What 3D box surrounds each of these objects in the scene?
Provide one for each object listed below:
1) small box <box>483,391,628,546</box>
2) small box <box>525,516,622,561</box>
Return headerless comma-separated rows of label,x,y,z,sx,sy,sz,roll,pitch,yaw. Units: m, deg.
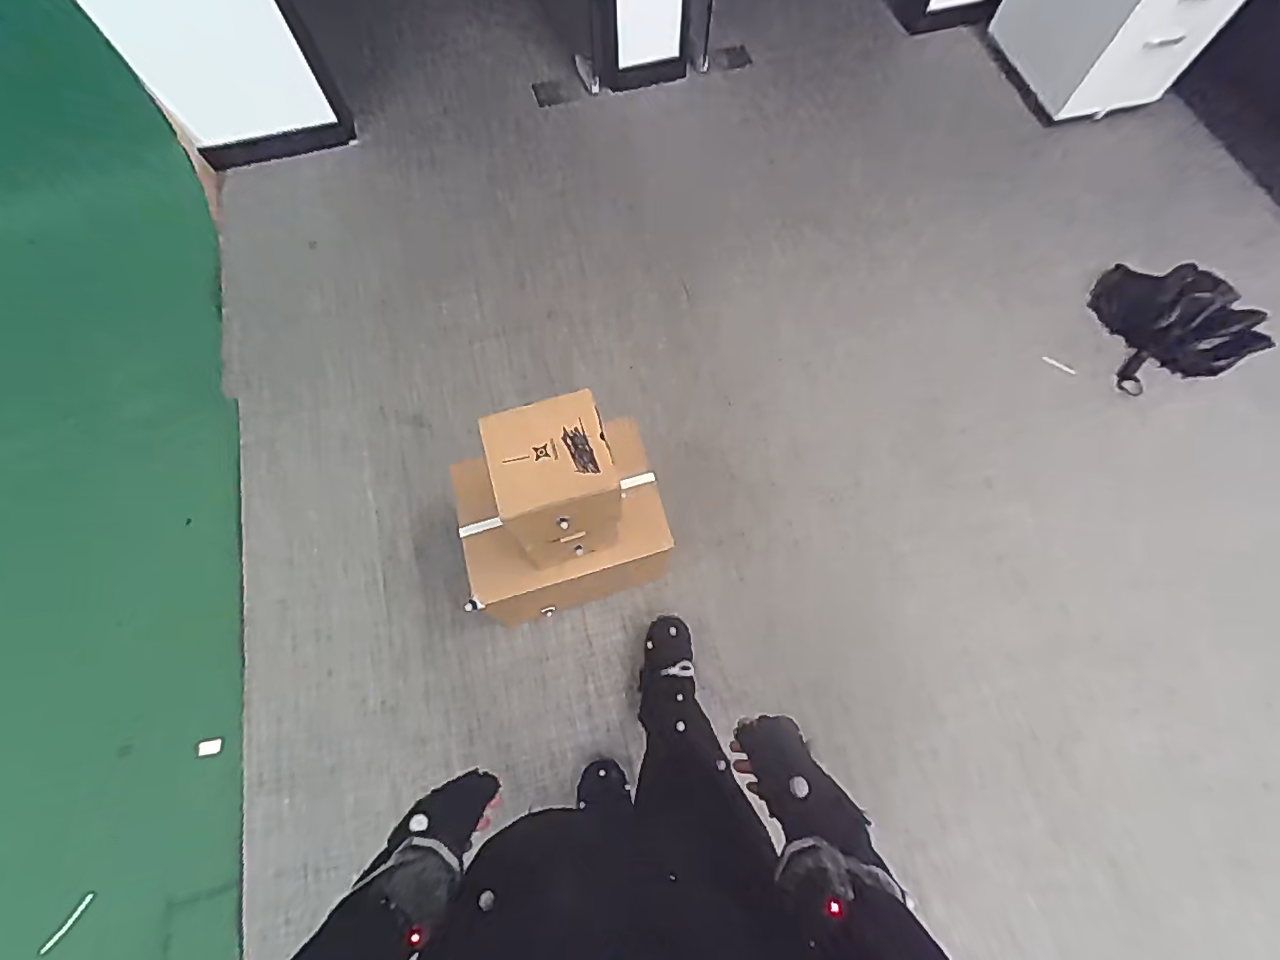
small box,-0.127,-0.011,0.854,0.179,0.176,0.168,-18,71,-7
small box,-0.136,0.043,1.010,0.168,0.176,0.179,-18,71,-6
